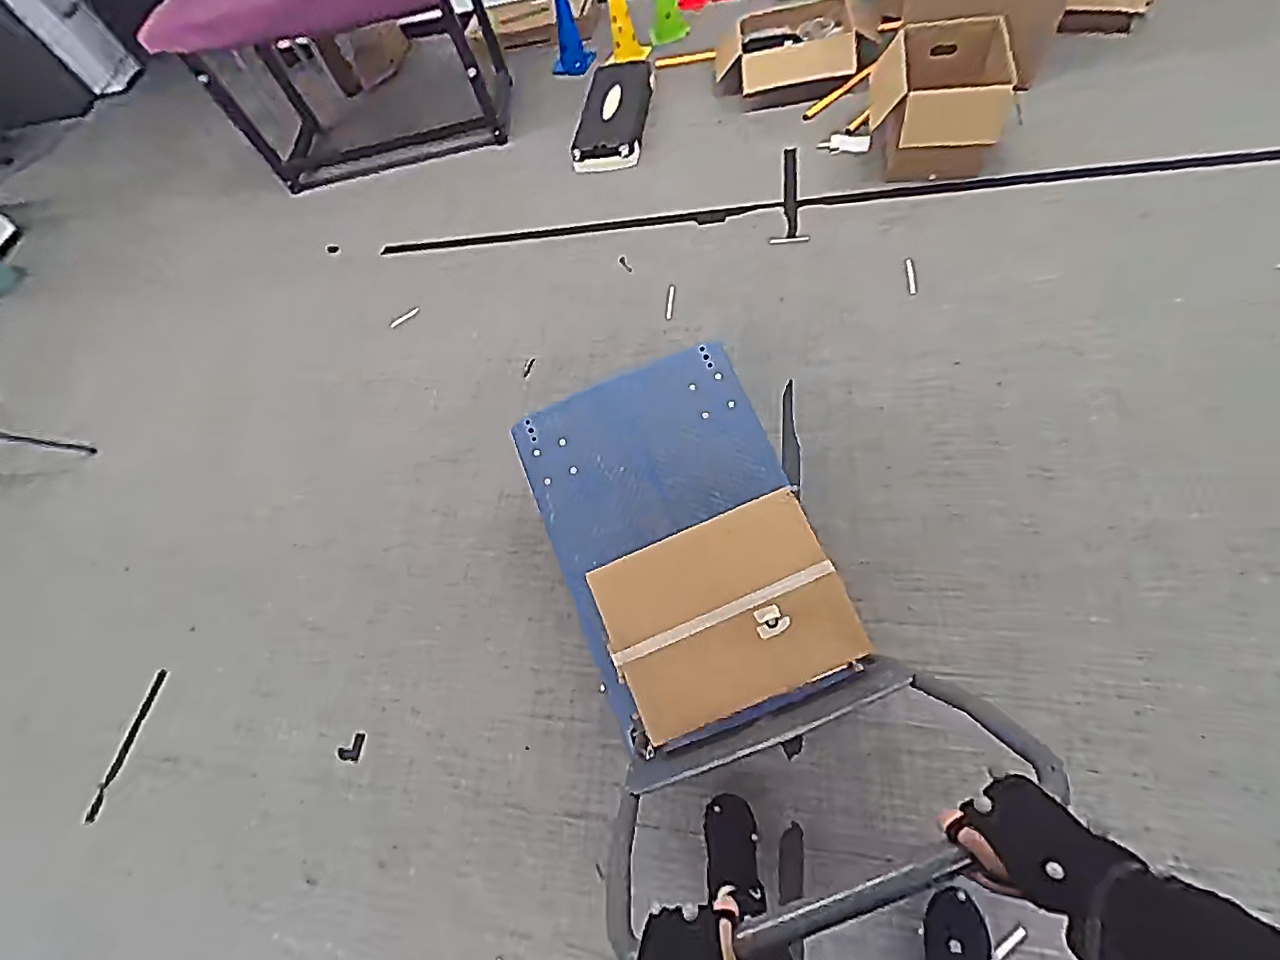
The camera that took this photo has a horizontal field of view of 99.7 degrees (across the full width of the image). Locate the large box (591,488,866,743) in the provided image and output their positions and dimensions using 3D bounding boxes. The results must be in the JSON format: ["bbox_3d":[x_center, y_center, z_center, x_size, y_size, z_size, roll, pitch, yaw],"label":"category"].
[{"bbox_3d":[0.160,0.265,1.095,0.408,0.320,0.320,-24,77,-1],"label":"large box"}]
